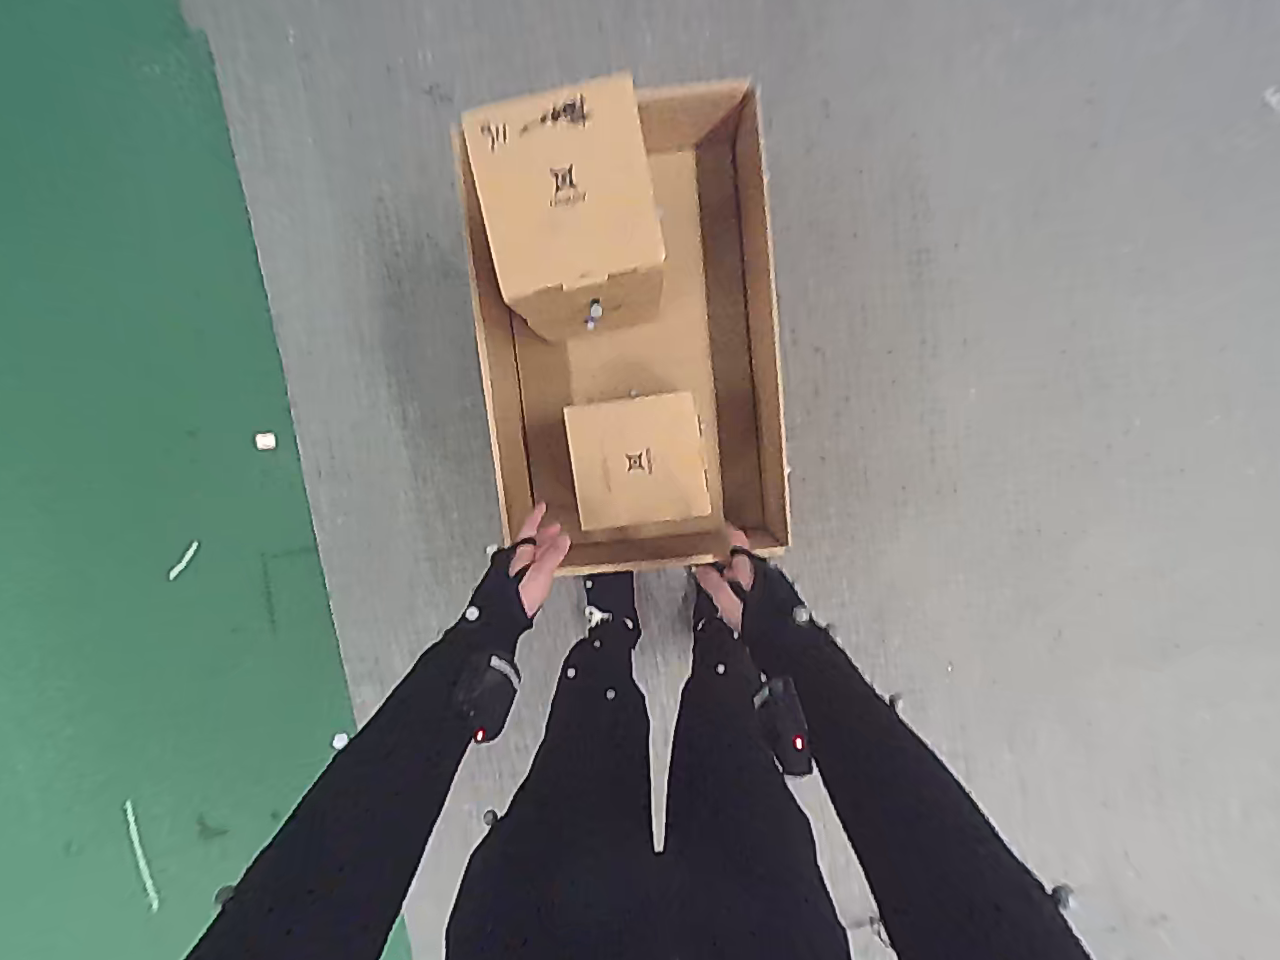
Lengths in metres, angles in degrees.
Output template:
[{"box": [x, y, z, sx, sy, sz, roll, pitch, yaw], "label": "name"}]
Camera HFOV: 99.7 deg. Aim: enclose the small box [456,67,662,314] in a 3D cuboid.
[{"box": [-0.071, -0.286, 0.581, 0.168, 0.176, 0.179, -12, 98, 3], "label": "small box"}]
